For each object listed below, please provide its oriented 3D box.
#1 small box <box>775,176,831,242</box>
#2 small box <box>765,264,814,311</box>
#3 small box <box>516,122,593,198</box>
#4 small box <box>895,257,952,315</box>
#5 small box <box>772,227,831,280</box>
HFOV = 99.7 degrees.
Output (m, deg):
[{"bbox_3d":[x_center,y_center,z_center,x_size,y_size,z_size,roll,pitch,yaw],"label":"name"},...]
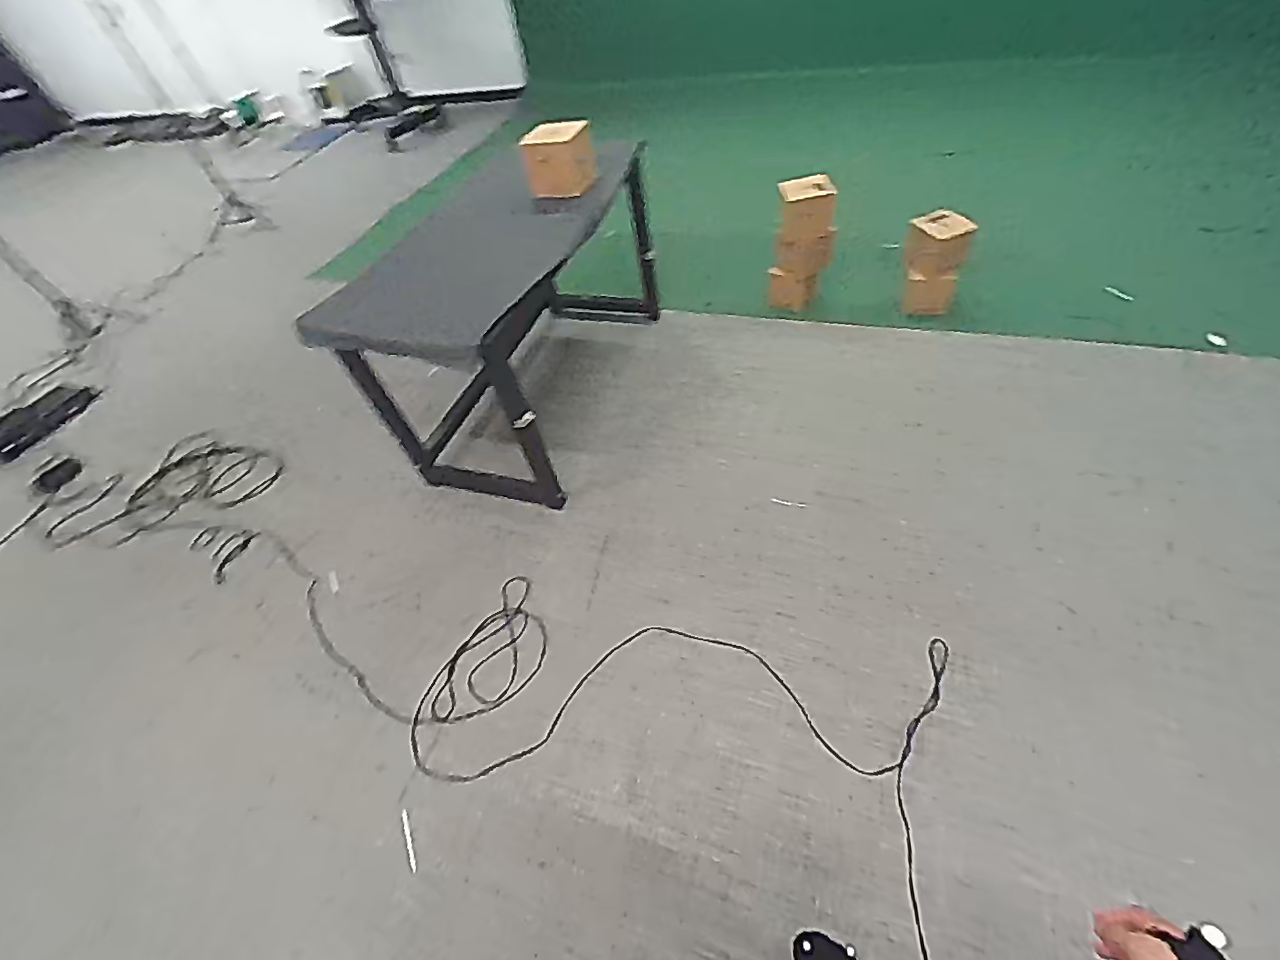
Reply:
[{"bbox_3d":[0.644,-1.077,2.154,0.179,0.176,0.168,-9,51,4],"label":"small box"},{"bbox_3d":[0.670,-0.881,2.415,0.168,0.176,0.179,26,59,26],"label":"small box"},{"bbox_3d":[-0.270,-1.045,1.772,0.179,0.176,0.168,9,53,19],"label":"small box"},{"bbox_3d":[1.180,-0.812,2.266,0.168,0.176,0.179,3,51,12],"label":"small box"},{"bbox_3d":[0.675,-0.972,2.278,0.179,0.176,0.168,-31,54,-16],"label":"small box"}]
